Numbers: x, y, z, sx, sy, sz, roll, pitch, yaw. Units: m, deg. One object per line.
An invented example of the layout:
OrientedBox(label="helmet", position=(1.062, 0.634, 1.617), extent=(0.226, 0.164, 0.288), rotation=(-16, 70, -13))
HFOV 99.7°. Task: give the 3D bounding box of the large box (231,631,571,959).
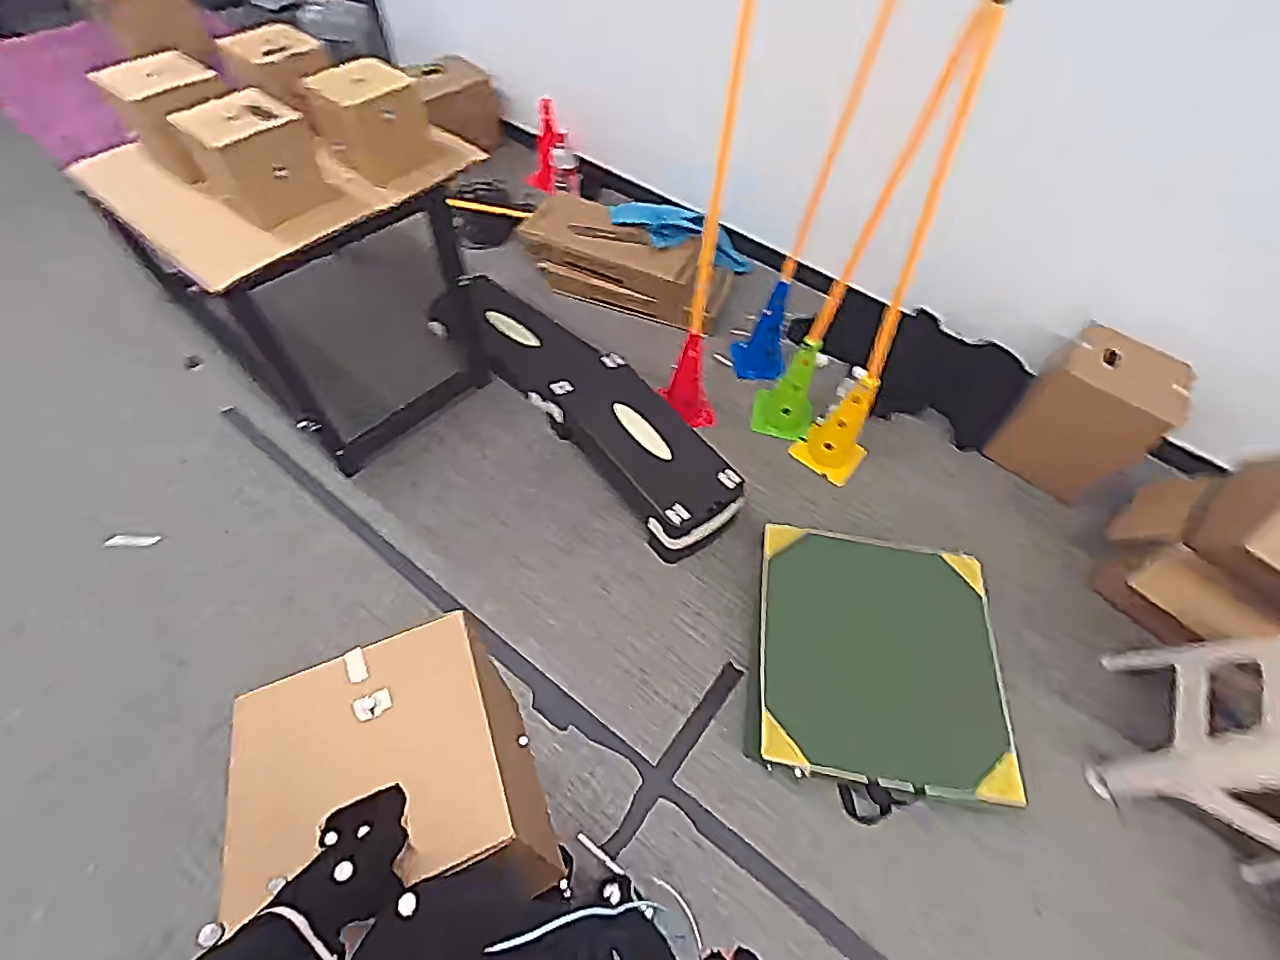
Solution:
OrientedBox(label="large box", position=(-0.325, 0.491, 0.814), extent=(0.320, 0.408, 0.320), rotation=(-19, 51, -12))
